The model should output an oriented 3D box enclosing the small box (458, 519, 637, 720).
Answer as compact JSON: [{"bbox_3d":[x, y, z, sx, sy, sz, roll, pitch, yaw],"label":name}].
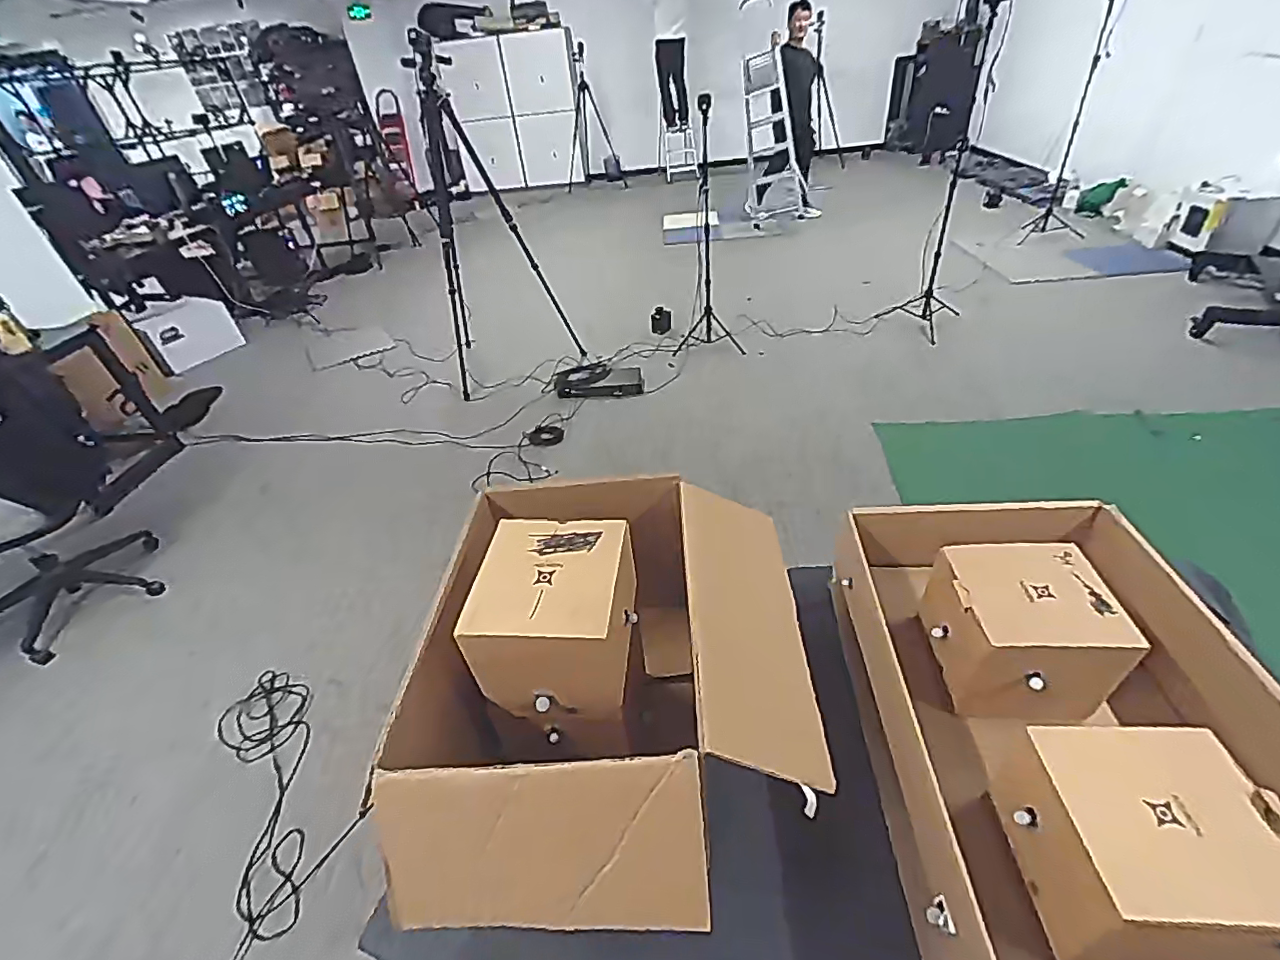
[{"bbox_3d":[-0.097,0.168,0.669,0.168,0.176,0.179,0,41,8],"label":"small box"}]
